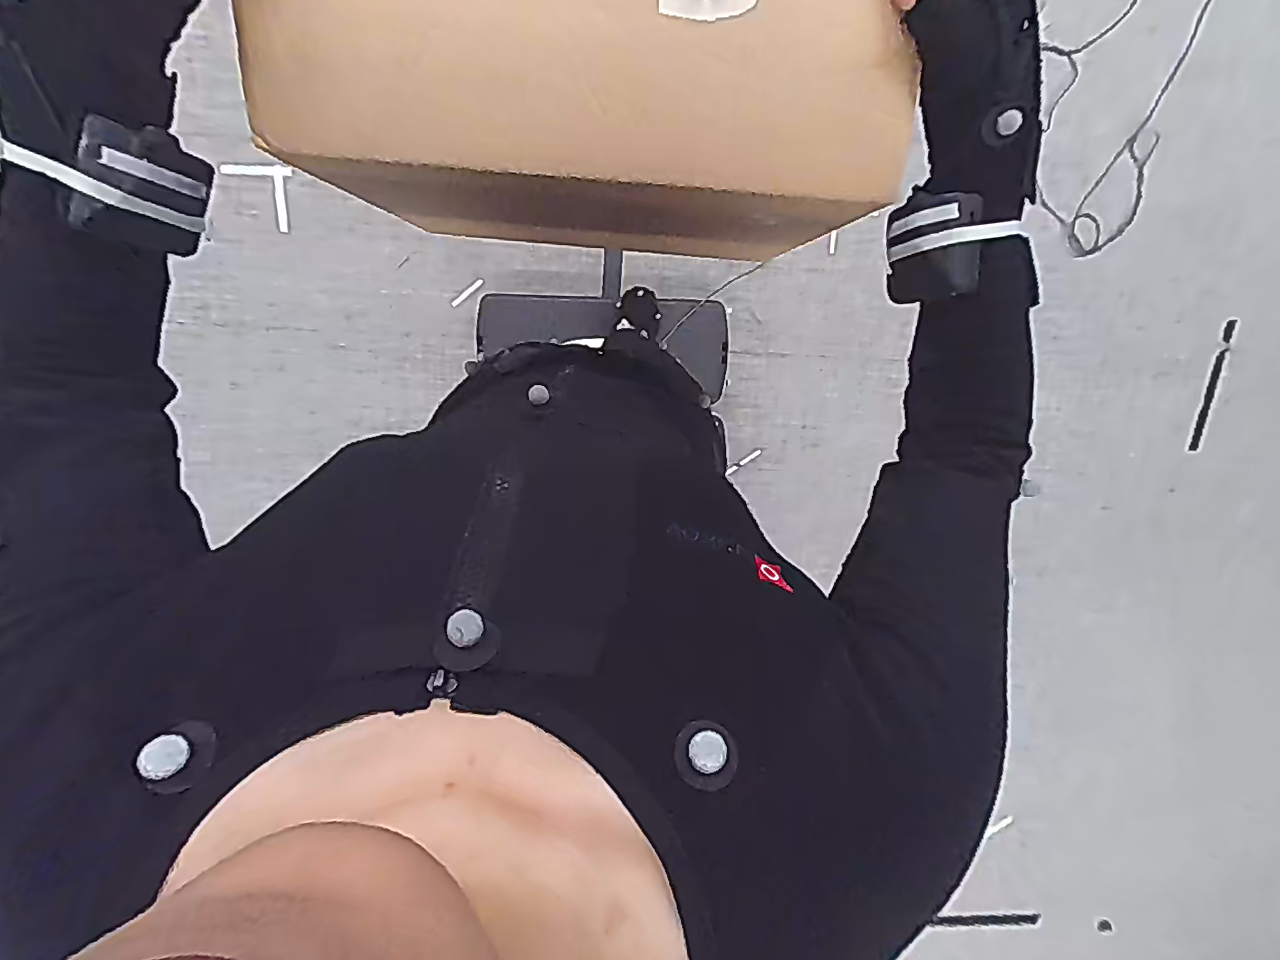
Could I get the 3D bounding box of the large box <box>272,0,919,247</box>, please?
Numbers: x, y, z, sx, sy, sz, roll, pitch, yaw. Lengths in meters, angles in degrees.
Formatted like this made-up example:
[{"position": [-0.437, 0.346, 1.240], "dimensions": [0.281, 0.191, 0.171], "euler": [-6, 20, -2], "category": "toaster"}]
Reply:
[{"position": [-0.027, -0.394, 0.458], "dimensions": [0.408, 0.320, 0.320], "euler": [3, 106, -4], "category": "large box"}]
